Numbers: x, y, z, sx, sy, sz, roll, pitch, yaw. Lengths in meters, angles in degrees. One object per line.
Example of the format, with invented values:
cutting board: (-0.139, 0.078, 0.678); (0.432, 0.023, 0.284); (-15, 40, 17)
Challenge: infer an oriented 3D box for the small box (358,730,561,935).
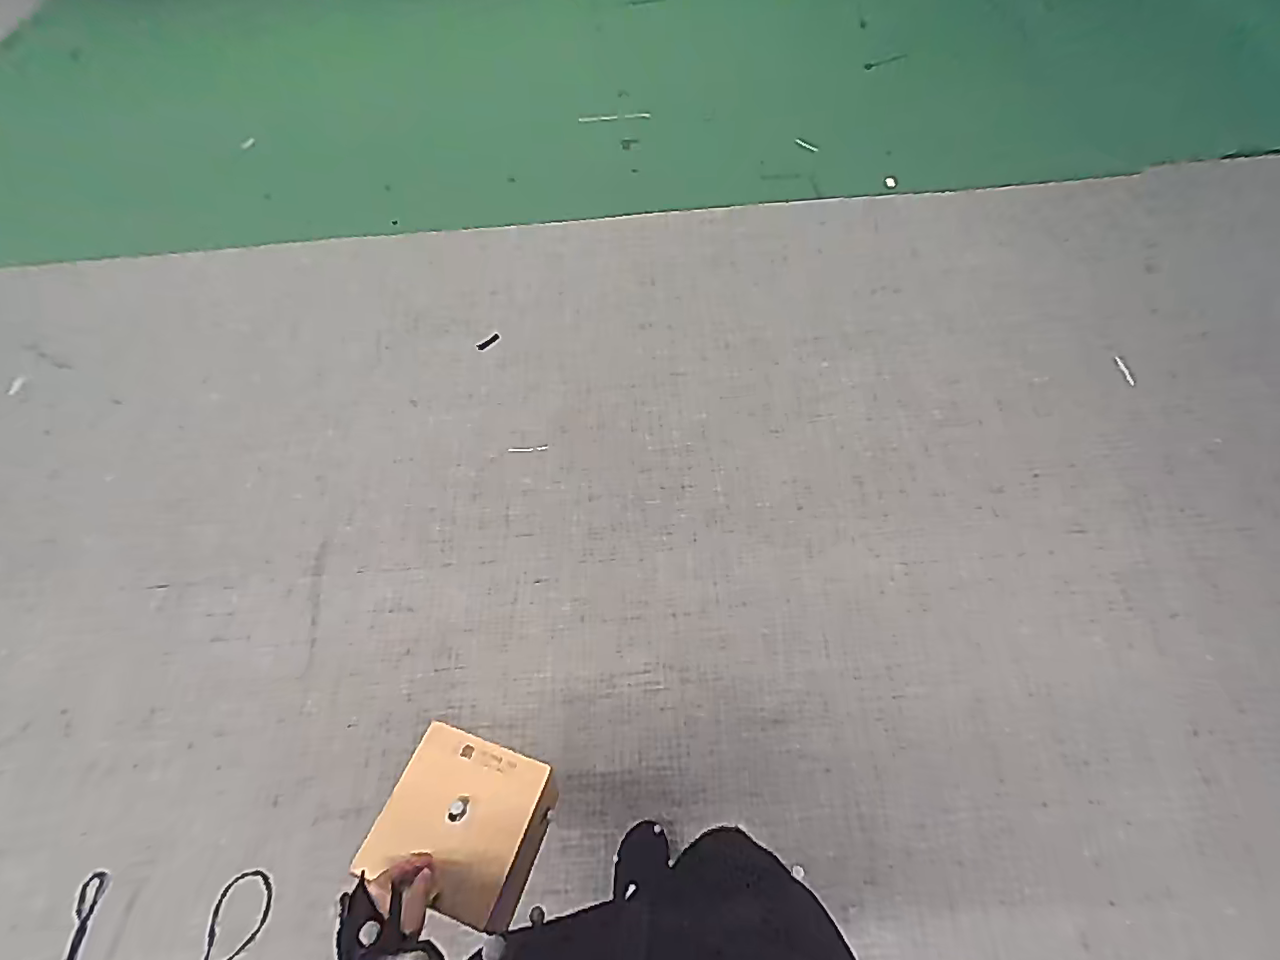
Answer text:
small box: (-0.209, 0.439, 0.683); (0.168, 0.179, 0.176); (15, 52, 9)
